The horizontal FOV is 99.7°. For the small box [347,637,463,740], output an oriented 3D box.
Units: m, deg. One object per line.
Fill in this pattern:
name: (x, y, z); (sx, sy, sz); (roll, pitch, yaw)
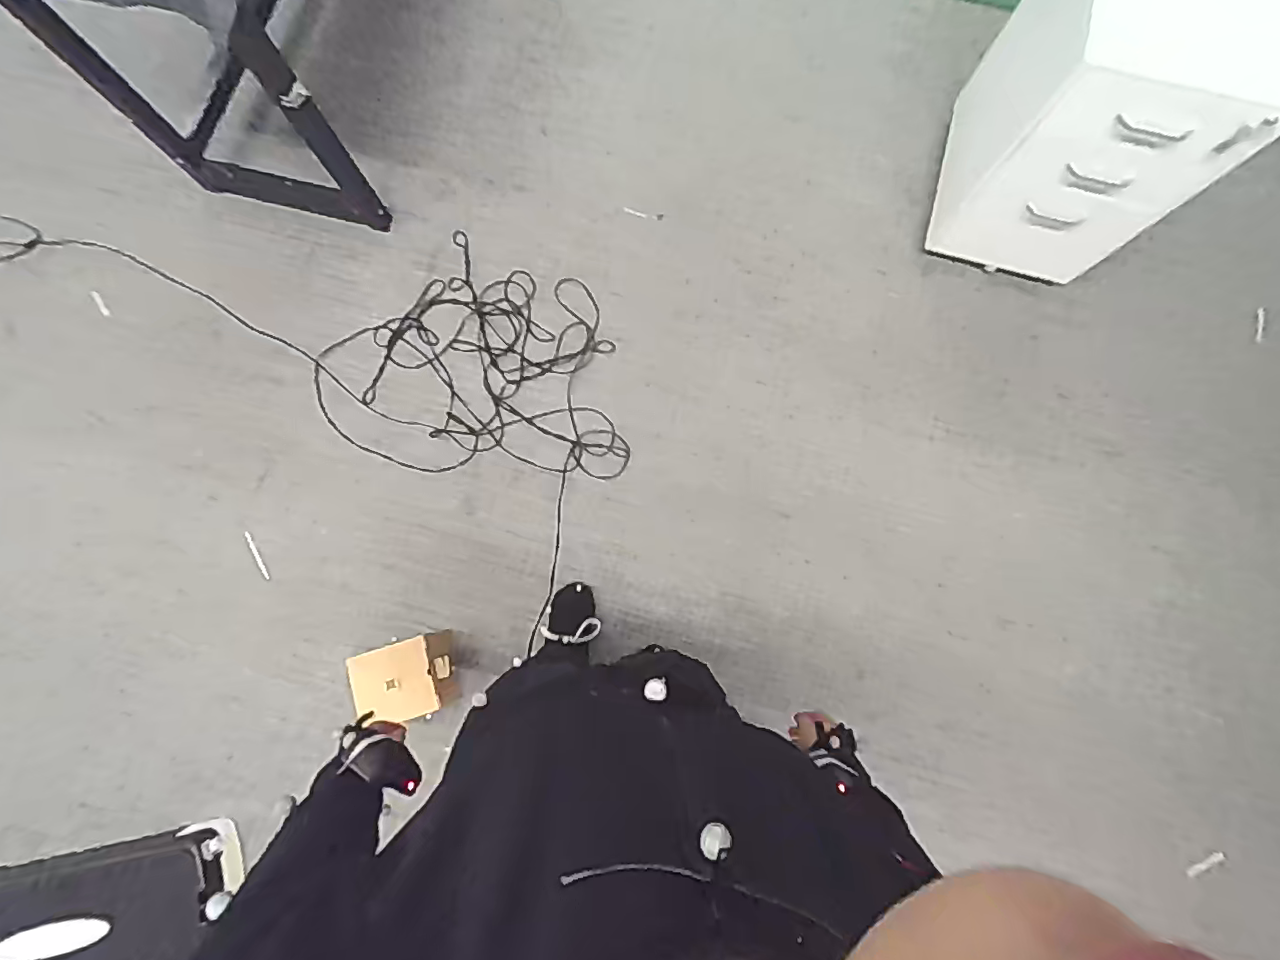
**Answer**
small box: (-0.530, 0.468, 1.237); (0.179, 0.176, 0.168); (-17, 79, -5)
